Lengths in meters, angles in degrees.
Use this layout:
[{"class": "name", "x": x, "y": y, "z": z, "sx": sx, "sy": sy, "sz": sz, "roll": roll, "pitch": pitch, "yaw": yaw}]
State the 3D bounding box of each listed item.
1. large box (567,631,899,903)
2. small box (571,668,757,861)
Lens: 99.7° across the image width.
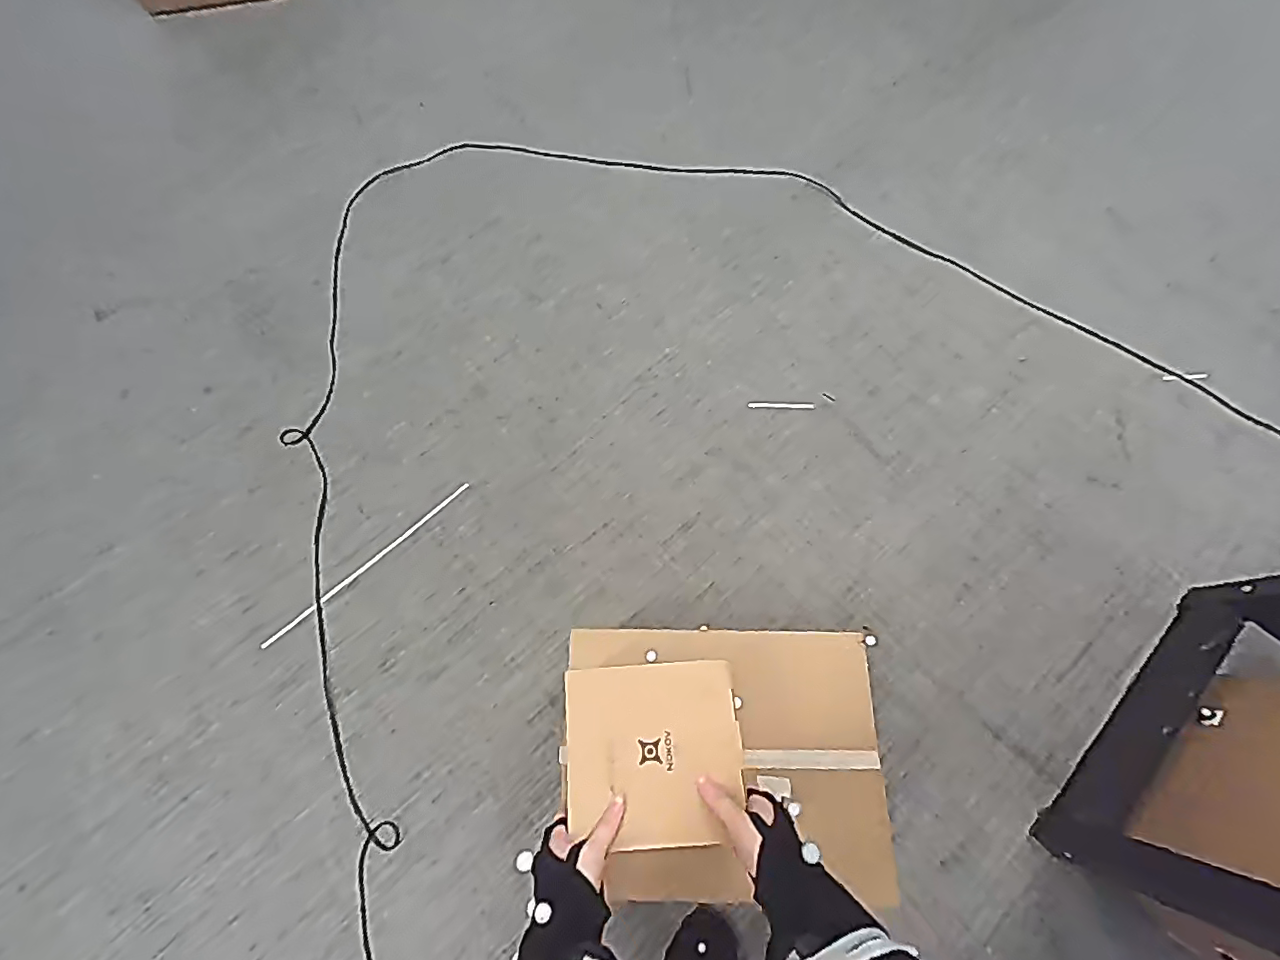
[{"class": "large box", "x": 0.109, "y": 0.406, "z": 0.830, "sx": 0.408, "sy": 0.320, "sz": 0.320, "roll": 0, "pitch": 71, "yaw": 1}, {"class": "small box", "x": 0.020, "y": 0.303, "z": 0.605, "sx": 0.179, "sy": 0.176, "sz": 0.168, "roll": -4, "pitch": 68, "yaw": 0}]
